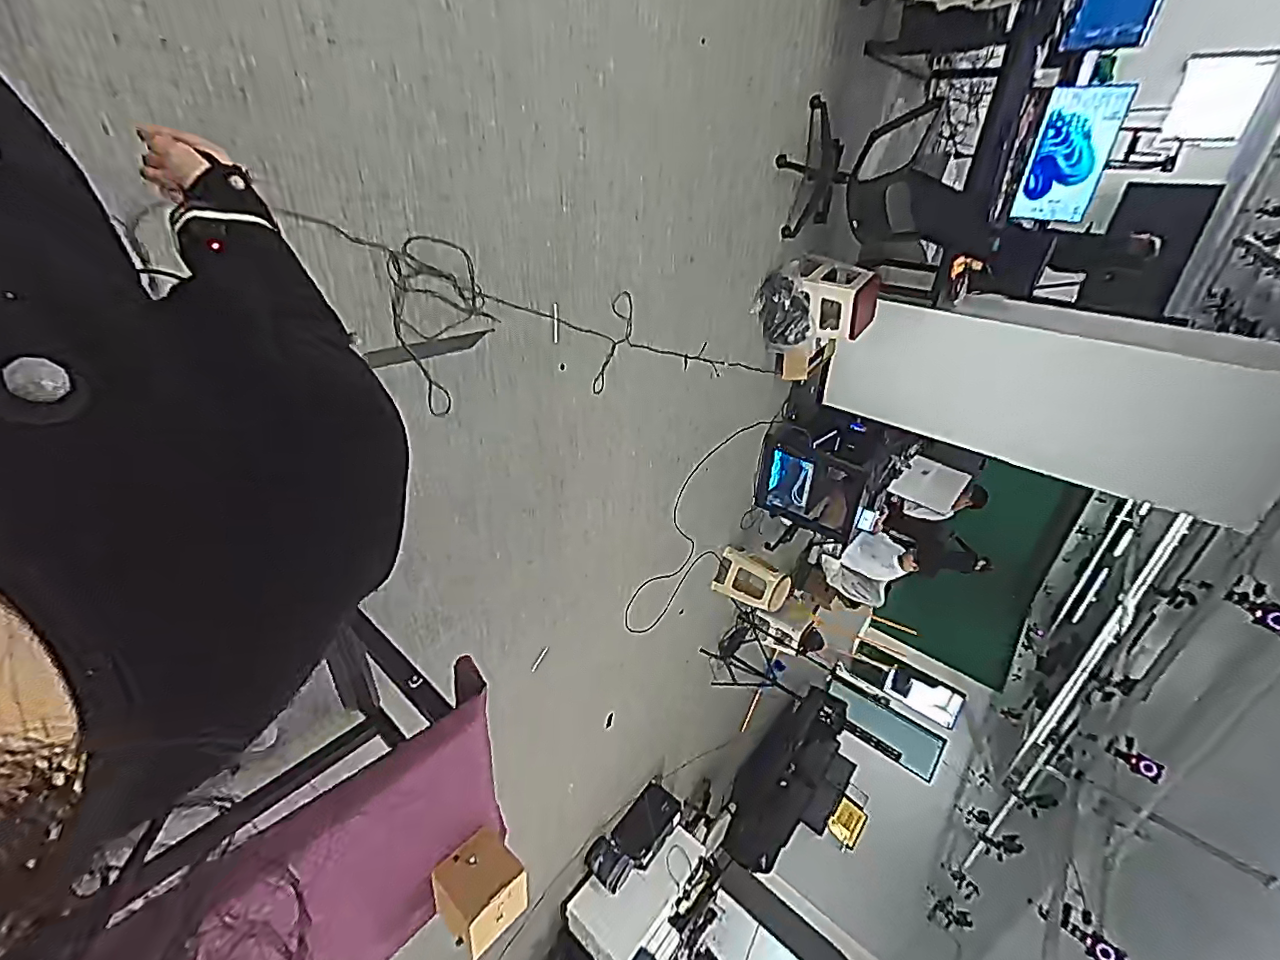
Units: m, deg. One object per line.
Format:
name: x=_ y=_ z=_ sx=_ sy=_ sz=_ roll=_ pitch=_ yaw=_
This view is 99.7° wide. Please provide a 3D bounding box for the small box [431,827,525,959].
small box: x=-0.412 y=1.044 z=1.381 sx=0.168 sy=0.176 sz=0.179 roll=-25 pitch=128 yaw=-45
